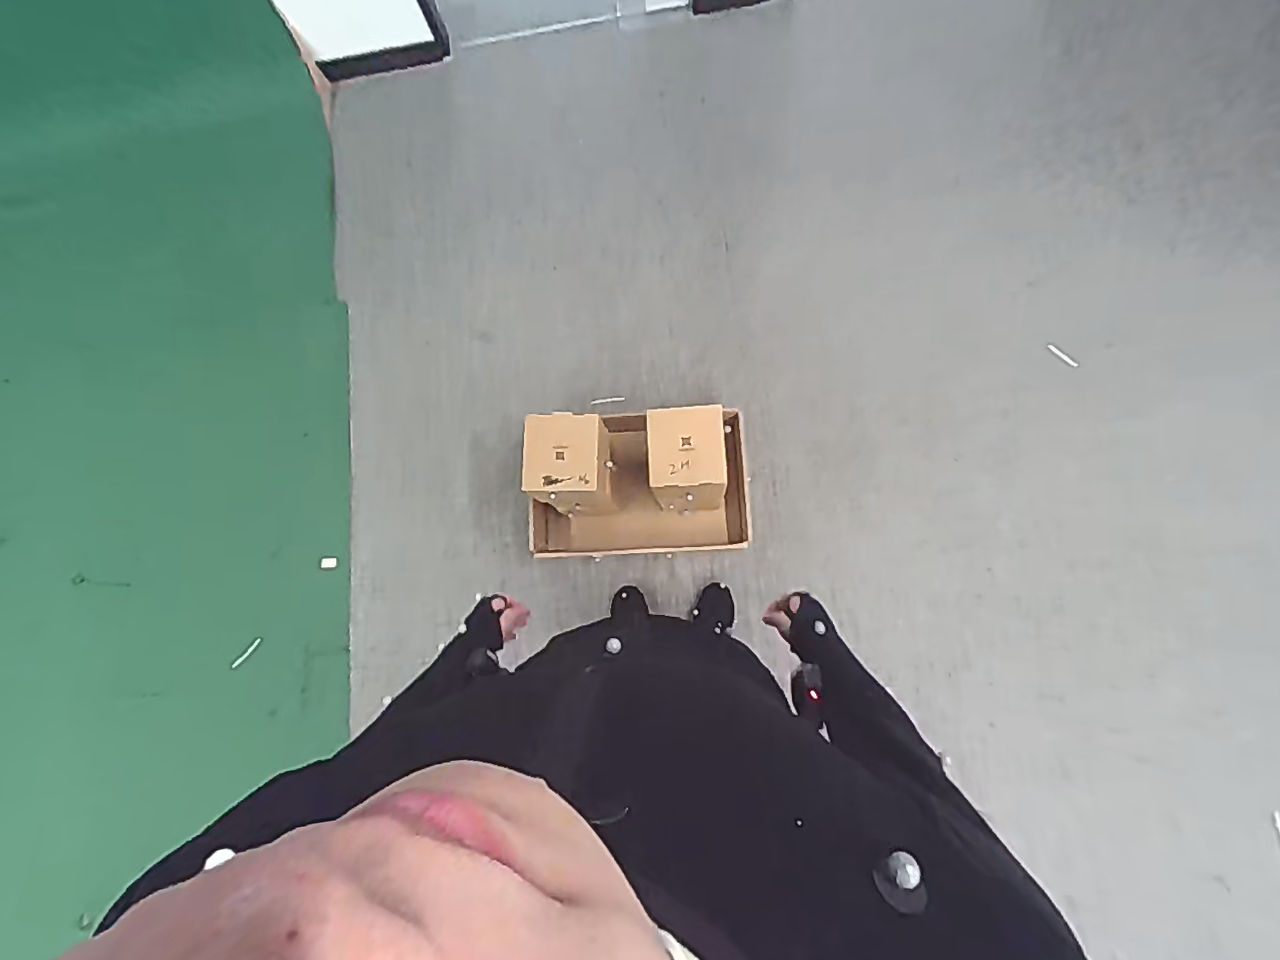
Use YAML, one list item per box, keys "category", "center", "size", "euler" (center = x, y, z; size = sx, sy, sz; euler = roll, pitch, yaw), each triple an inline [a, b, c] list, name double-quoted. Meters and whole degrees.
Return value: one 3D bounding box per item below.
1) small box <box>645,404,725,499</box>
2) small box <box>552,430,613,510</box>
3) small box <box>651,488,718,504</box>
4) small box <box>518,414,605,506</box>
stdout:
- category: "small box"
  center: [0.102, -0.059, 1.225]
  size: [0.168, 0.176, 0.179]
  euler: [-4, 79, 6]
- category: "small box"
  center: [-0.162, -0.022, 1.407]
  size: [0.168, 0.176, 0.179]
  euler: [-3, 79, 3]
- category: "small box"
  center: [0.118, -0.032, 1.387]
  size: [0.168, 0.176, 0.179]
  euler: [-2, 78, 5]
- category: "small box"
  center: [-0.173, -0.042, 1.244]
  size: [0.168, 0.176, 0.179]
  euler: [0, 78, 4]
